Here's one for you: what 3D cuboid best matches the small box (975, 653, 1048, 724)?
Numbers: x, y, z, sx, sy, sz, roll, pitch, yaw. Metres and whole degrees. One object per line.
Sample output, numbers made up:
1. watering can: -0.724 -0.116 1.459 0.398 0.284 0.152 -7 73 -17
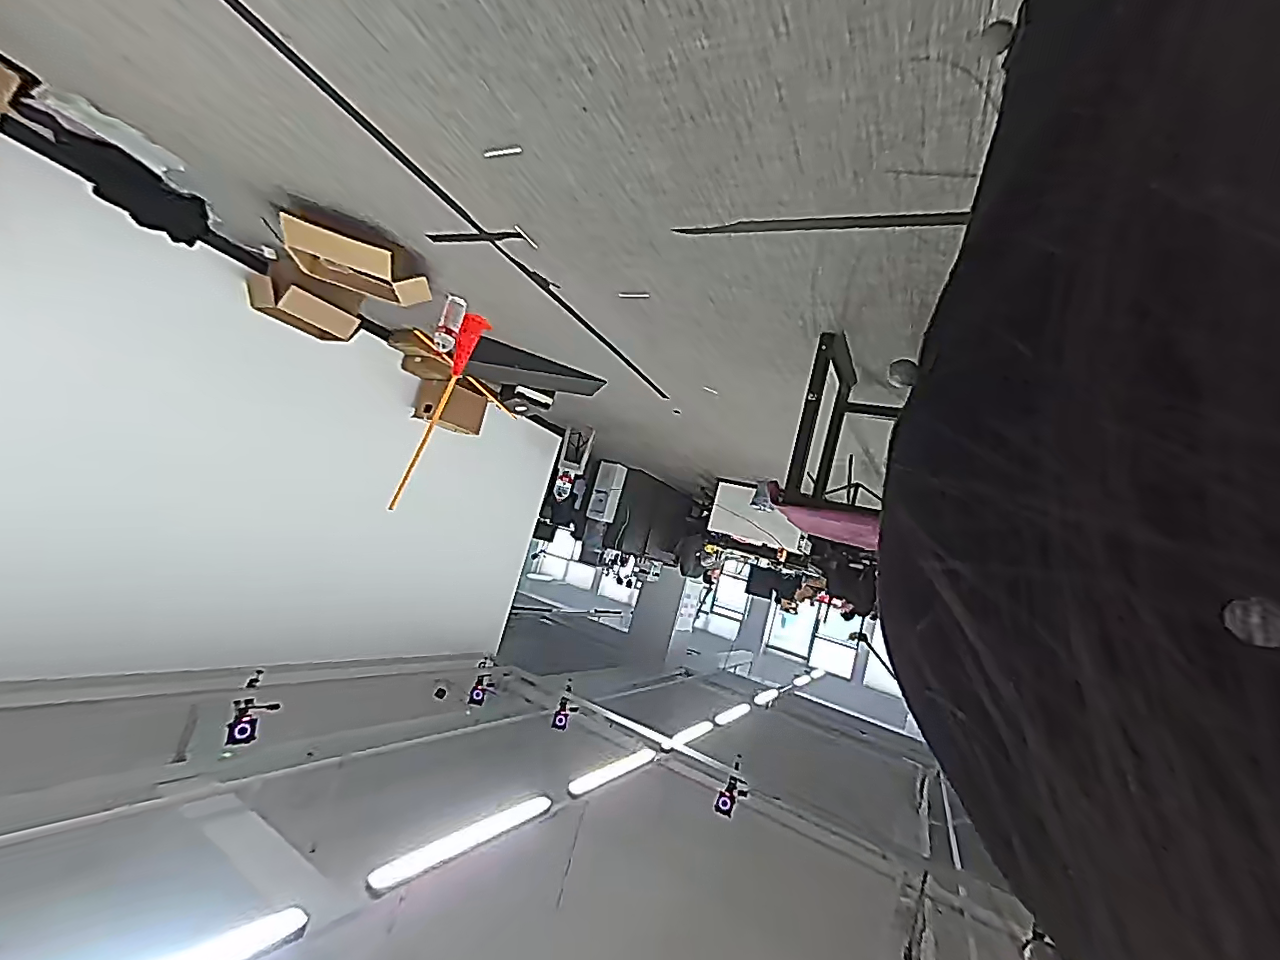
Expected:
1. small box: 1.260 0.697 1.834 0.168 0.176 0.179 12 172 27
